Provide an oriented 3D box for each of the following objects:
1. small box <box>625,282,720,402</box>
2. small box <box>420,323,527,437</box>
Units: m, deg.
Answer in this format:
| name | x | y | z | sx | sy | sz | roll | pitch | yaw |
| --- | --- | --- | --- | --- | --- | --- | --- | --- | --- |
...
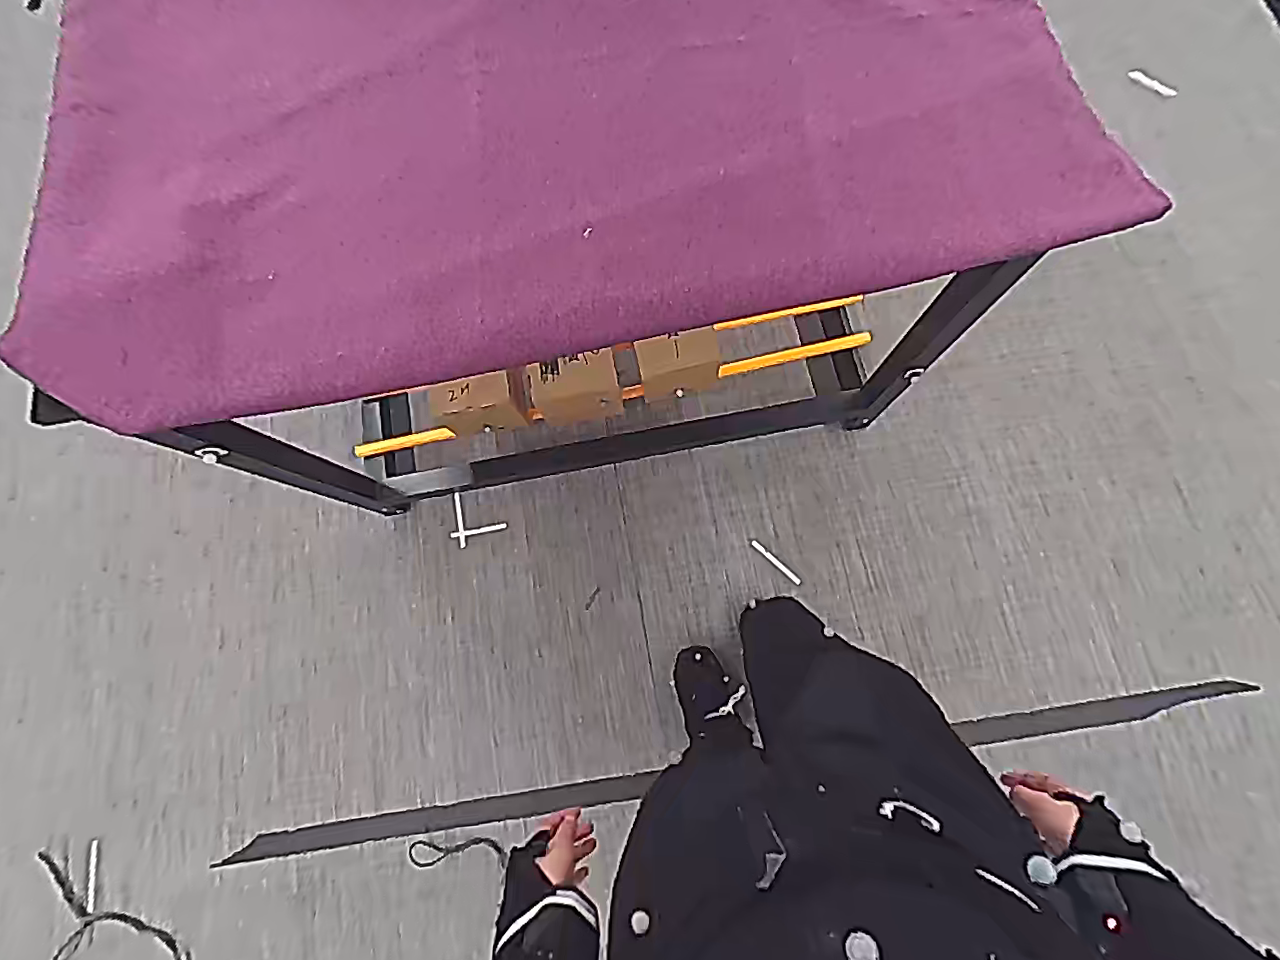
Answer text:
| name | x | y | z | sx | sy | sz | roll | pitch | yaw |
| --- | --- | --- | --- | --- | --- | --- | --- | --- | --- |
| small box | 0.067 | -0.288 | 1.158 | 0.168 | 0.176 | 0.179 | -13 | 79 | 2 |
| small box | -0.352 | -0.208 | 1.162 | 0.168 | 0.176 | 0.179 | -11 | 79 | 1 |
